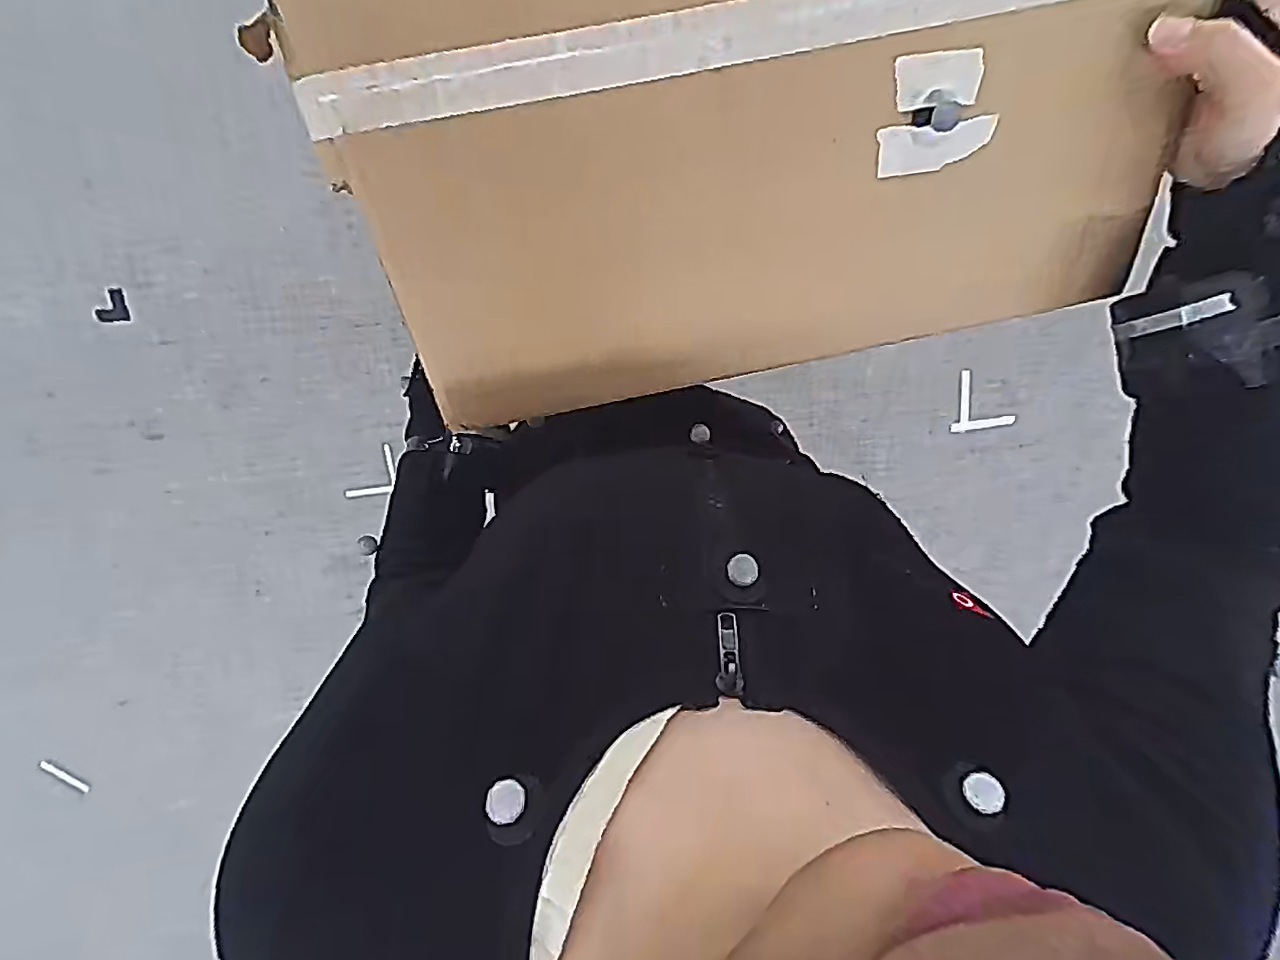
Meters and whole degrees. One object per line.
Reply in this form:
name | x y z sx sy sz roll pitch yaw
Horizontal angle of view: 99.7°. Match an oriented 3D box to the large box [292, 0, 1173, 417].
large box | 0.034 -0.281 0.368 0.408 0.320 0.320 -13 123 -4
